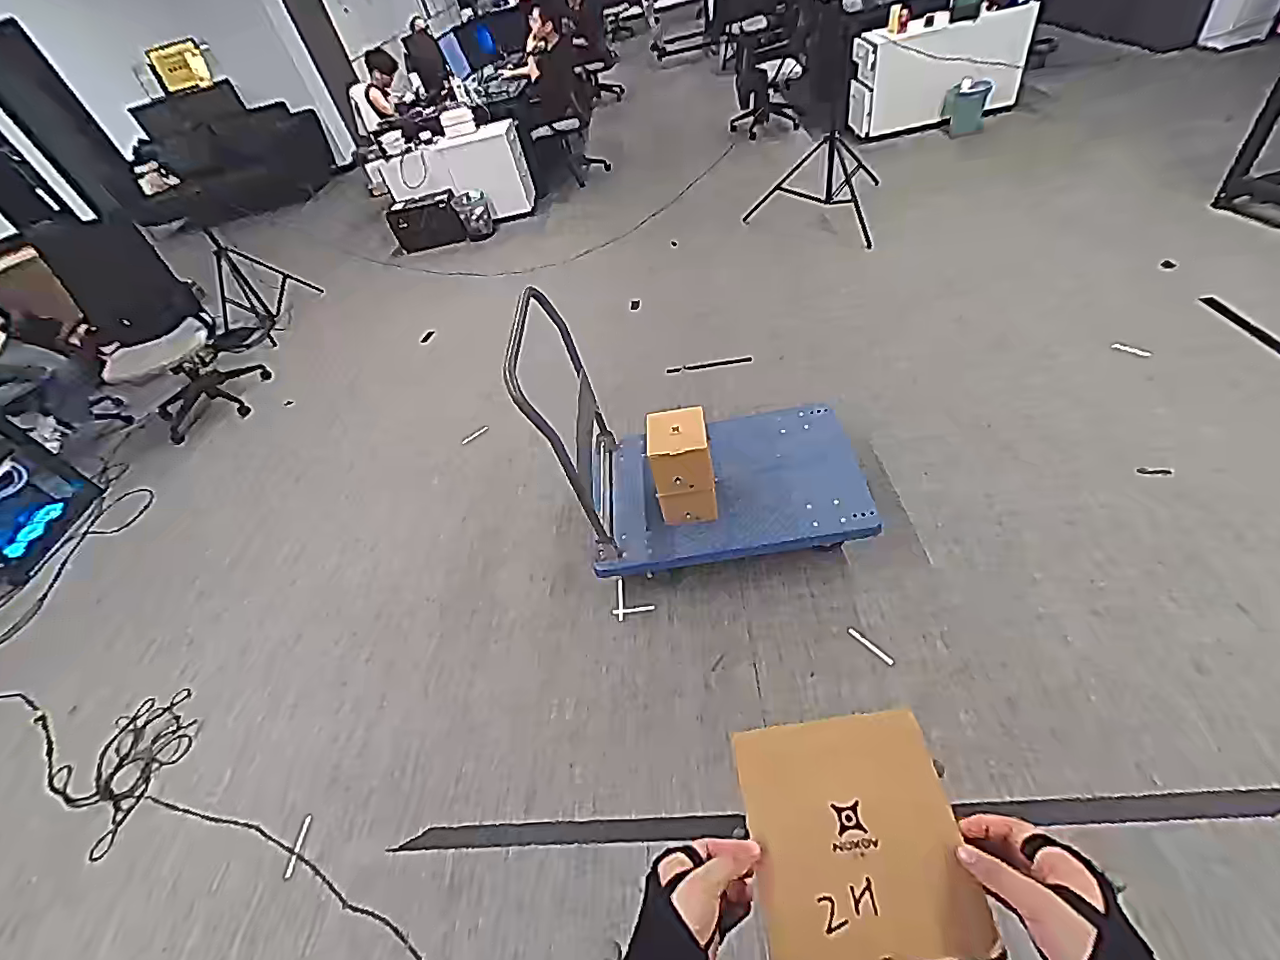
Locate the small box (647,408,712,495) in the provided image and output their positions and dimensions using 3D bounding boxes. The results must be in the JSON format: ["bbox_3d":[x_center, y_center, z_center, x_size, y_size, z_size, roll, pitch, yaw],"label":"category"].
[{"bbox_3d":[0.114,-0.080,1.556,0.168,0.176,0.179,-8,47,8],"label":"small box"}]

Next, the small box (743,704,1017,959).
[{"bbox_3d":[0.194,0.330,0.498,0.168,0.176,0.179,-11,50,7],"label":"small box"}]
